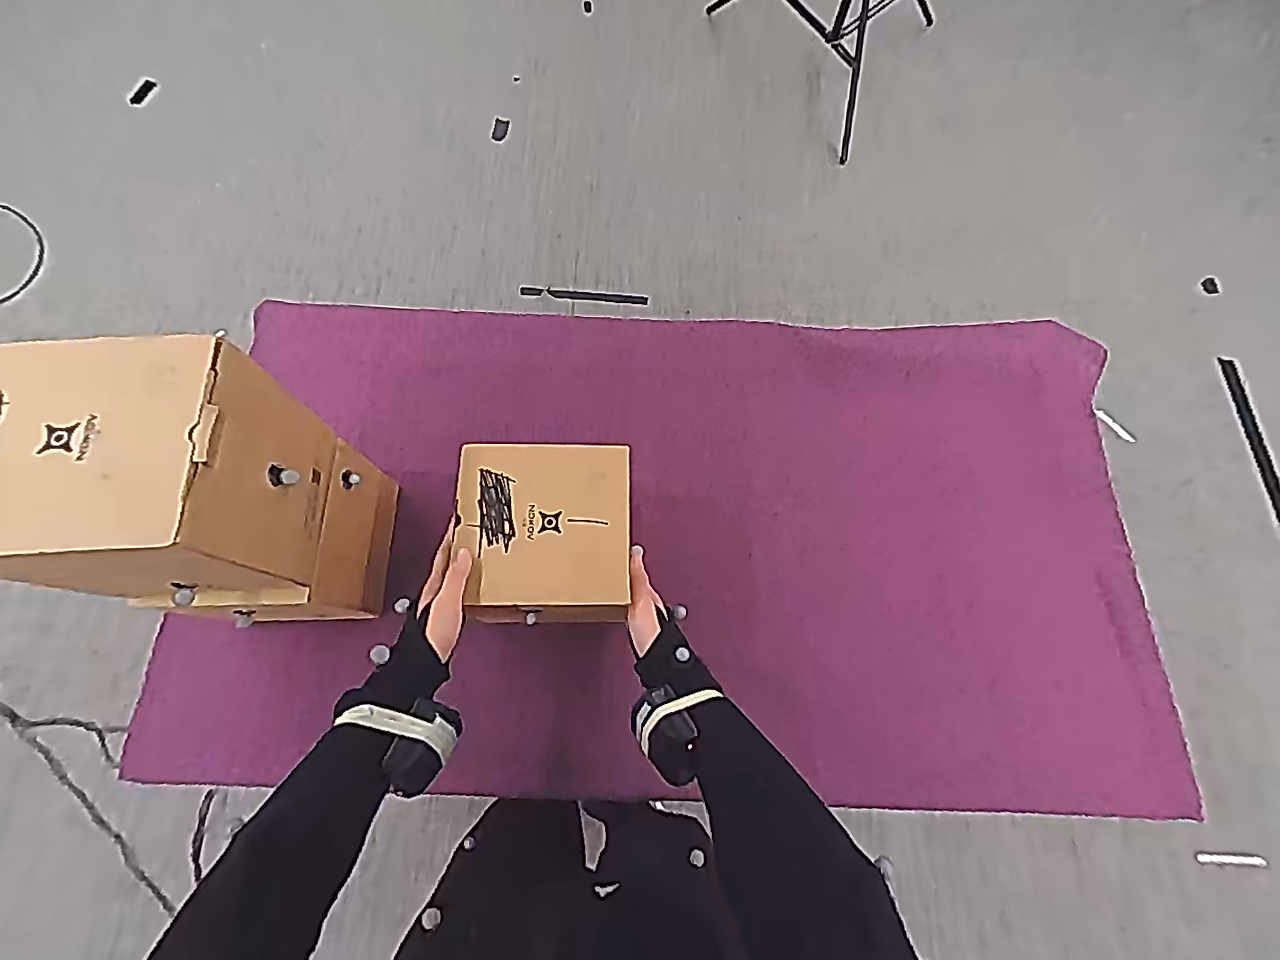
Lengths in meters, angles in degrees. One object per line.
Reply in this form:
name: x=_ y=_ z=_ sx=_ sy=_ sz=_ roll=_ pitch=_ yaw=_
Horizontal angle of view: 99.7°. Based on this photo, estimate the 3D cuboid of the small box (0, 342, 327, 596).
small box: x=-0.397 y=0.001 z=0.456 sx=0.179 sy=0.176 sz=0.168 roll=-3 pitch=70 yaw=-3

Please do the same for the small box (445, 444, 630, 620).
small box: x=-0.101 y=0.068 z=0.613 sx=0.179 sy=0.176 sz=0.168 roll=0 pitch=70 yaw=-3

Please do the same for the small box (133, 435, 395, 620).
small box: x=-0.396 y=0.063 z=0.608 sx=0.168 sy=0.176 sz=0.179 roll=-1 pitch=70 yaw=-2
